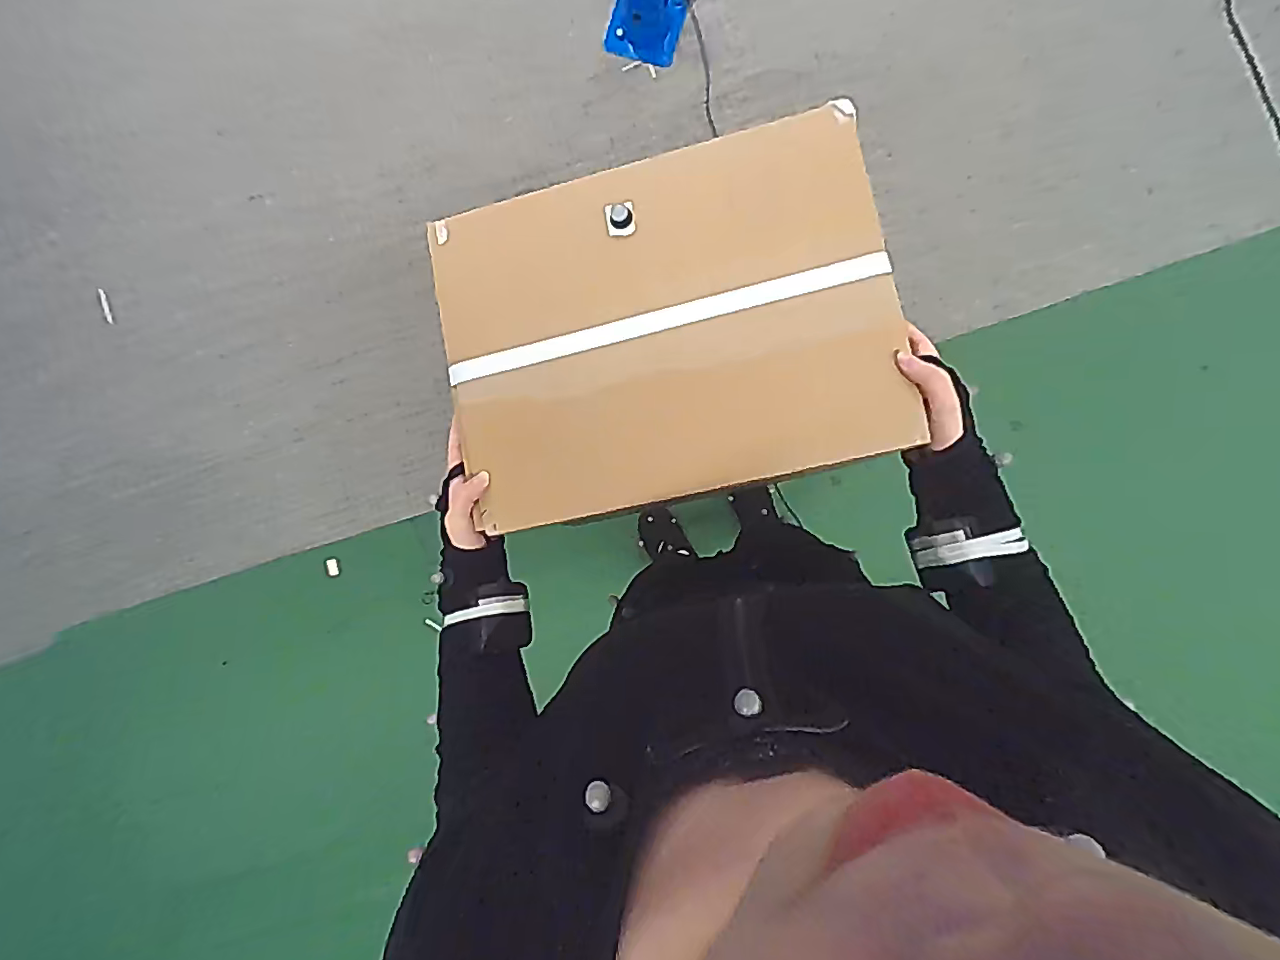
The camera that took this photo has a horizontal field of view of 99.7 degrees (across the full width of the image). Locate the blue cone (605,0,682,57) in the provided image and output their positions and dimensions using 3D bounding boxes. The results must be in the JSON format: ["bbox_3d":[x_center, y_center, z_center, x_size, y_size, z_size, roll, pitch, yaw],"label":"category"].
[{"bbox_3d":[-0.003,-1.248,1.305,0.192,0.380,0.193,15,93,4],"label":"blue cone"}]
